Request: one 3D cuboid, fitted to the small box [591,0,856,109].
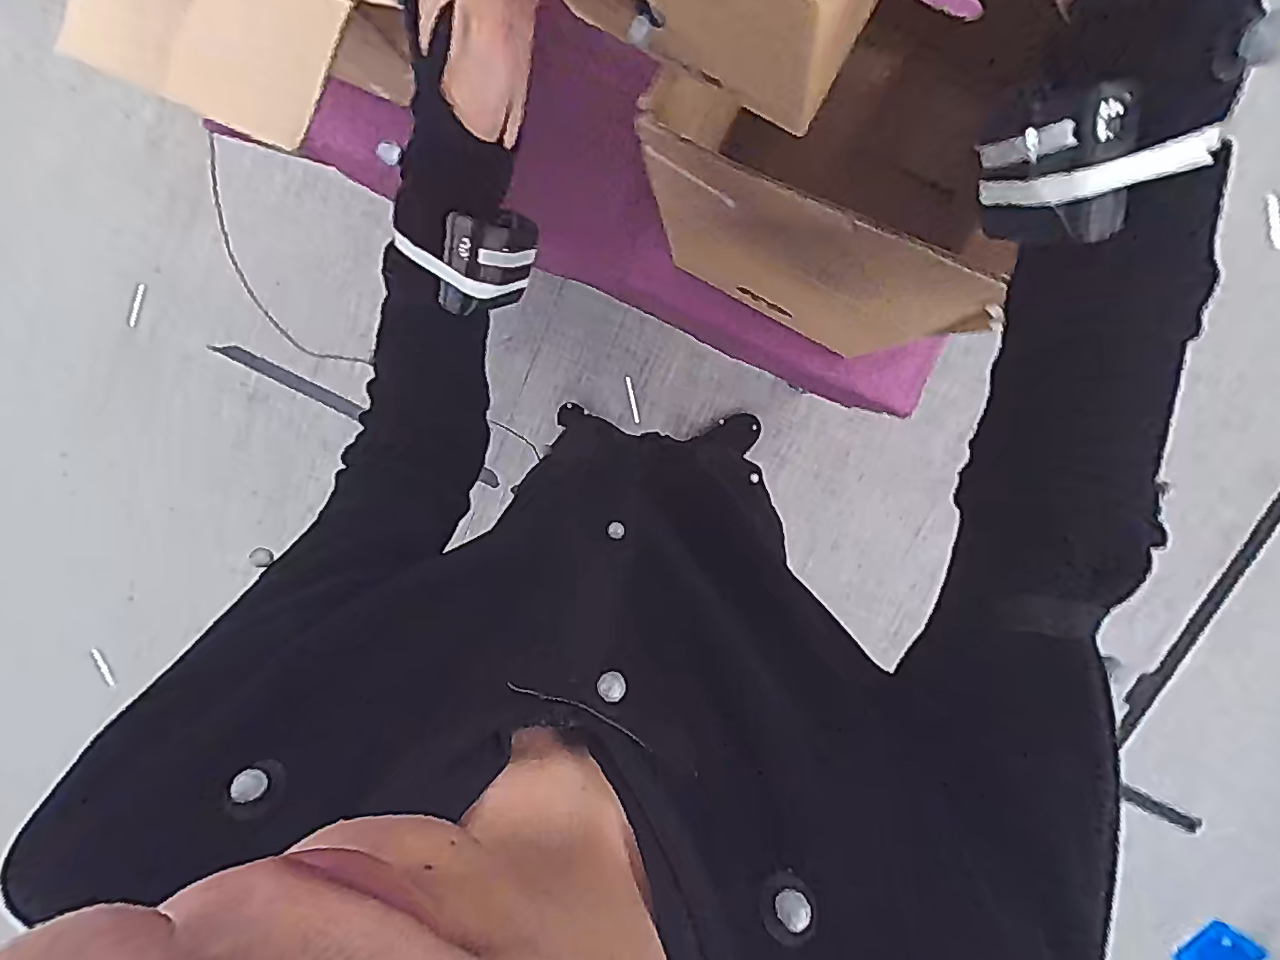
[{"bbox_3d":[0.043,-0.301,0.227,0.168,0.176,0.179,31,113,2],"label":"small box"}]
